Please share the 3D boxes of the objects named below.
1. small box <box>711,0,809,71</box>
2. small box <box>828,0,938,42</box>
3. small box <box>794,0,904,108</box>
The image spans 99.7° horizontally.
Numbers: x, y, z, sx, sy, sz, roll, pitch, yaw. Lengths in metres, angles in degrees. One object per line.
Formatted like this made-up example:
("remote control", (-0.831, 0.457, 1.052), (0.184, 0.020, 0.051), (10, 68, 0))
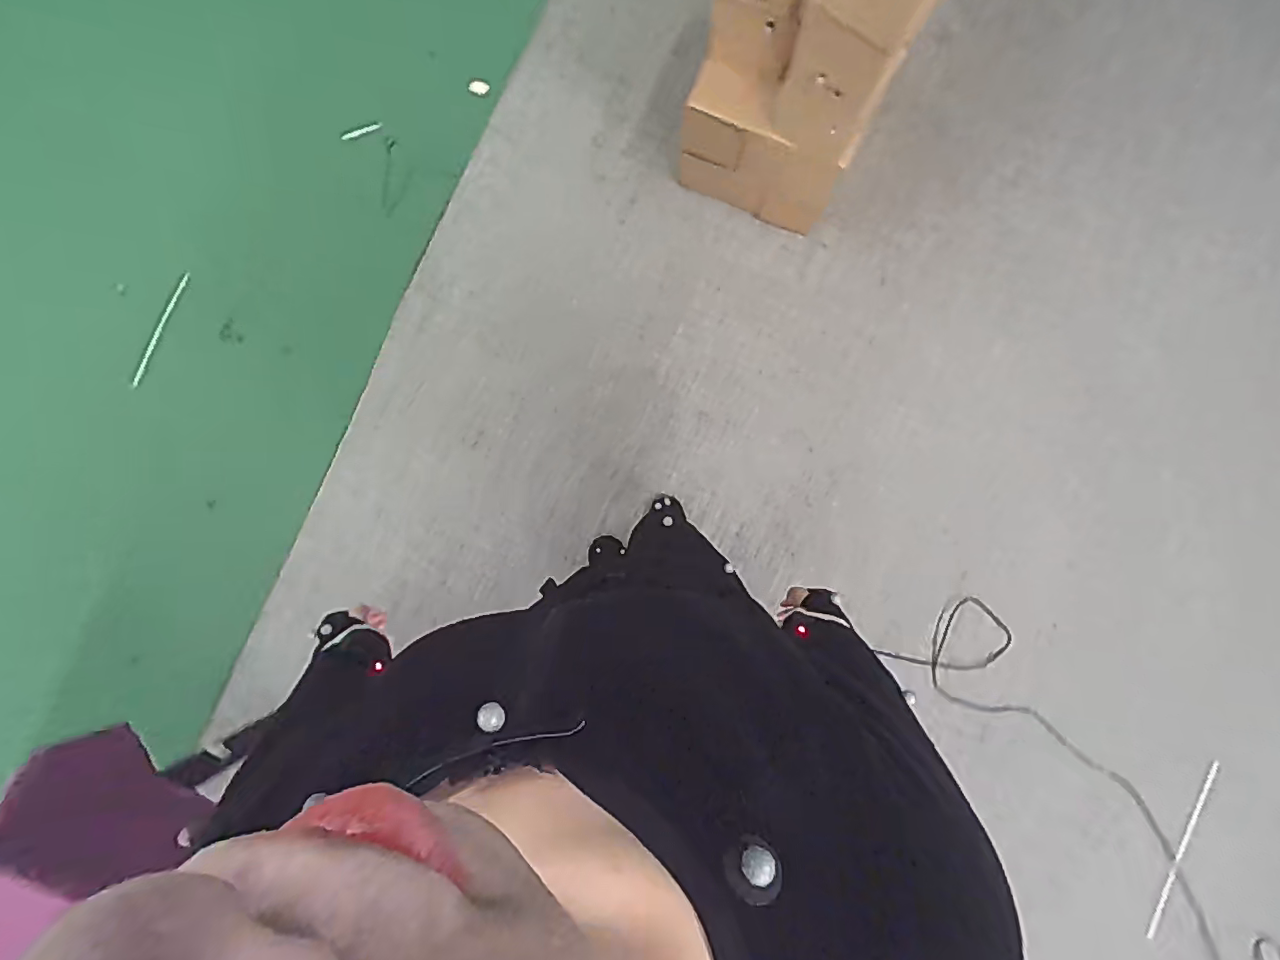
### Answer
("small box", (0.267, -1.034, 1.162), (0.179, 0.176, 0.168), (23, 86, 4))
("small box", (0.399, -0.825, 0.813), (0.179, 0.176, 0.168), (37, 89, 5))
("small box", (0.403, -0.837, 0.979), (0.168, 0.176, 0.179), (32, 89, 4))
